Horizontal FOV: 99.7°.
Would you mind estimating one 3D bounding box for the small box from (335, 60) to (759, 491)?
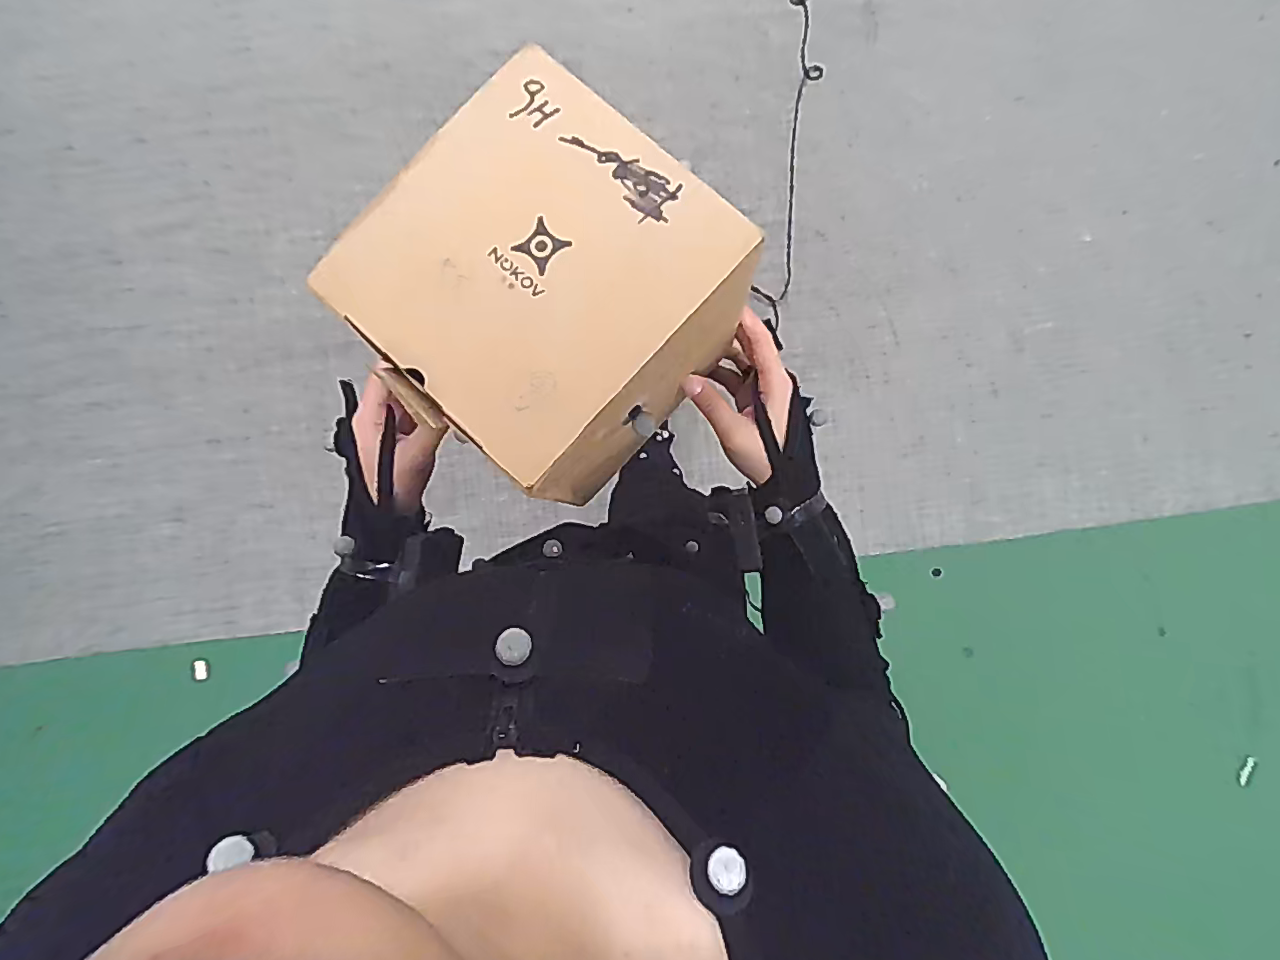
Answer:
[{"bbox_3d":[-0.045,-0.108,0.366,0.168,0.176,0.179,42,89,6],"label":"small box"}]
